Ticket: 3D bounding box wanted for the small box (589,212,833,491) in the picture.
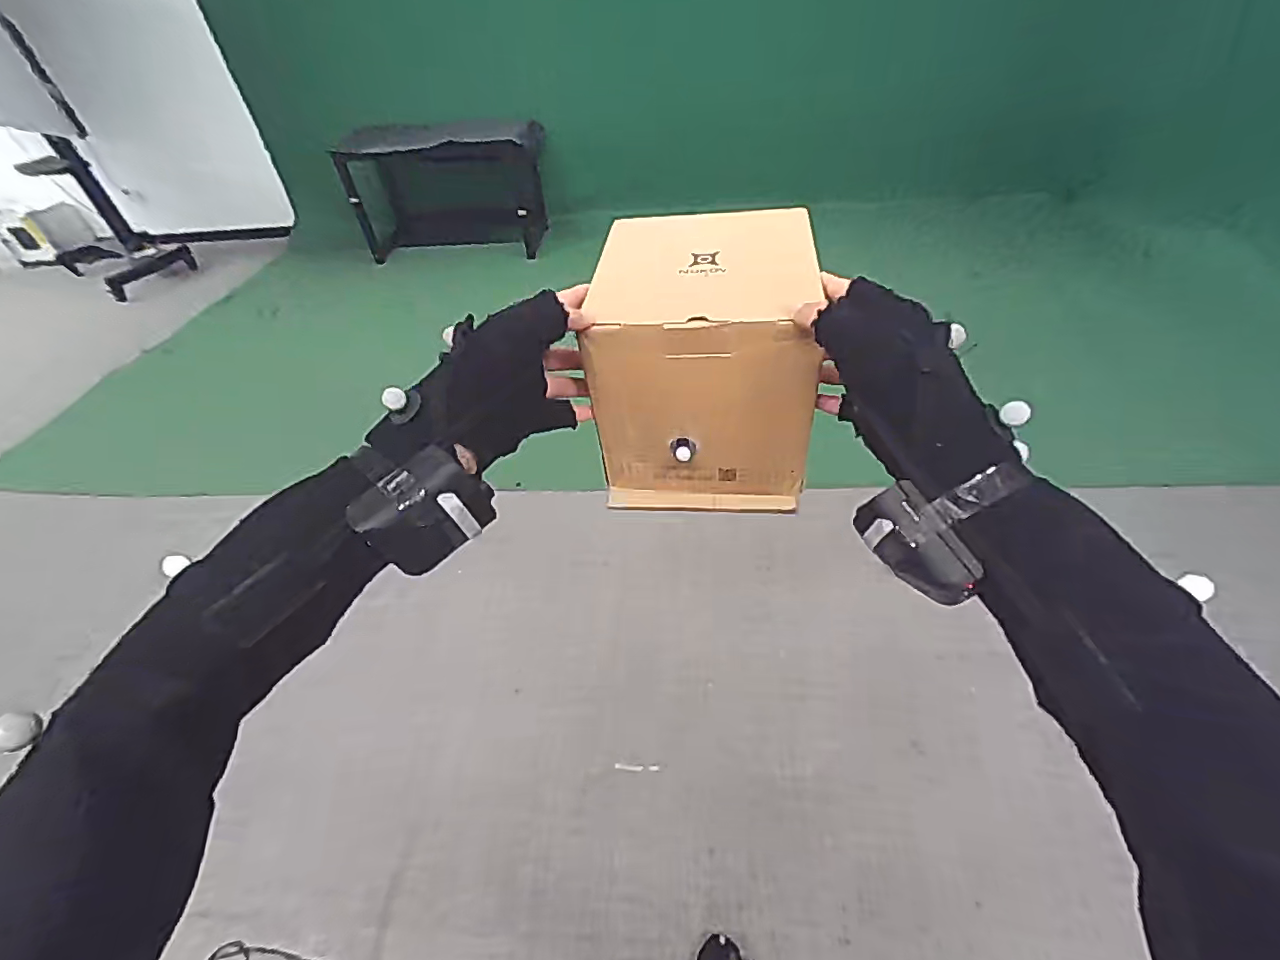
[{"bbox_3d":[0.062,-0.112,0.471,0.168,0.176,0.179,2,48,9],"label":"small box"}]
